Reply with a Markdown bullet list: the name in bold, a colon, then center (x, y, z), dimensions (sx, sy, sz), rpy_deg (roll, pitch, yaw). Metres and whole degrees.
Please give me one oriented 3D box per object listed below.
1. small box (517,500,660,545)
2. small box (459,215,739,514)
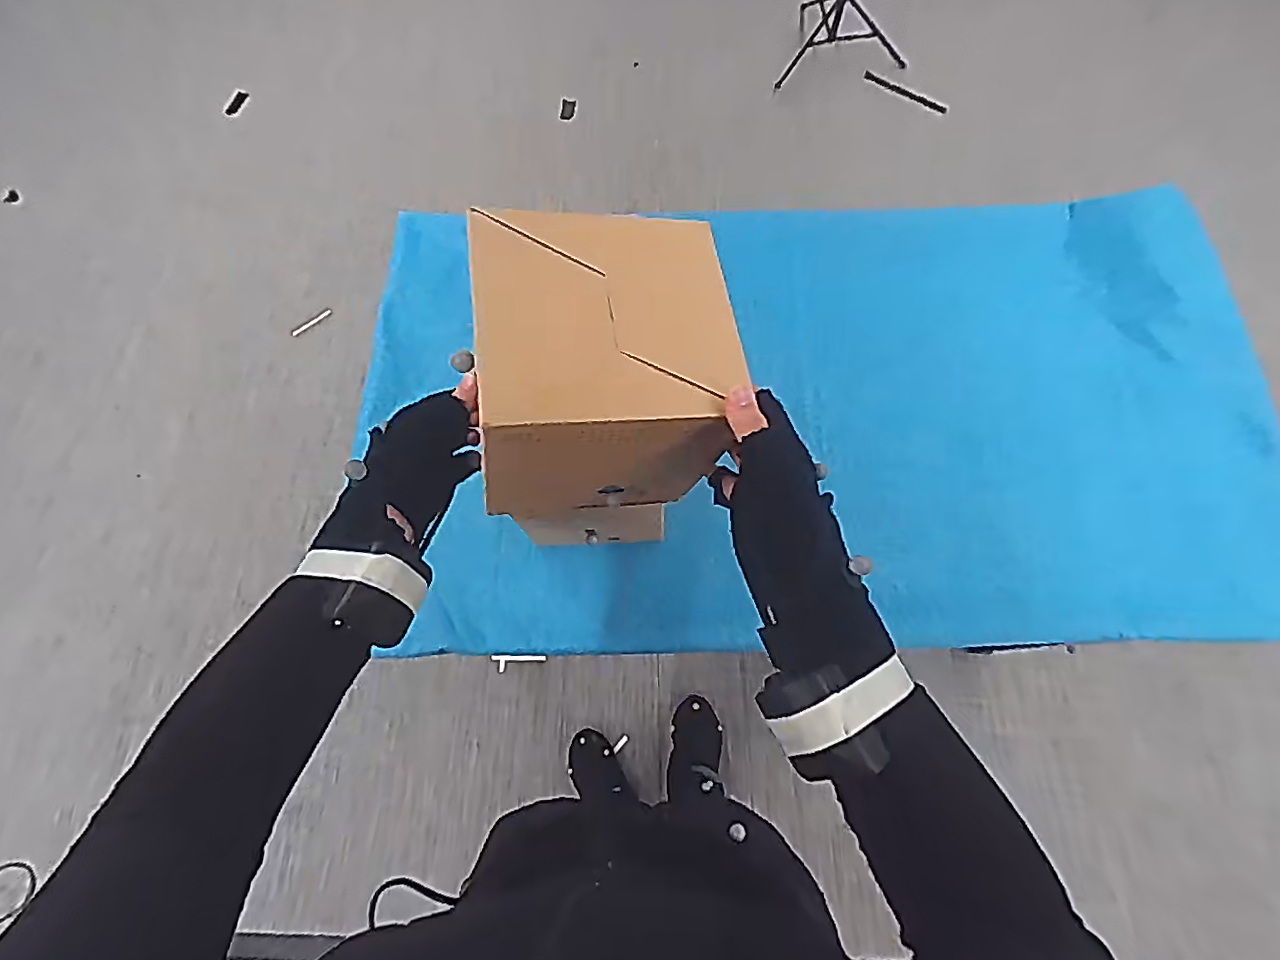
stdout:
- **small box**: center (-0.059, -0.027, 0.645), dimensions (0.168, 0.176, 0.179), rpy_deg (1, 72, 4)
- **small box**: center (-0.042, -0.081, 0.427), dimensions (0.179, 0.176, 0.168), rpy_deg (-3, 69, -16)
